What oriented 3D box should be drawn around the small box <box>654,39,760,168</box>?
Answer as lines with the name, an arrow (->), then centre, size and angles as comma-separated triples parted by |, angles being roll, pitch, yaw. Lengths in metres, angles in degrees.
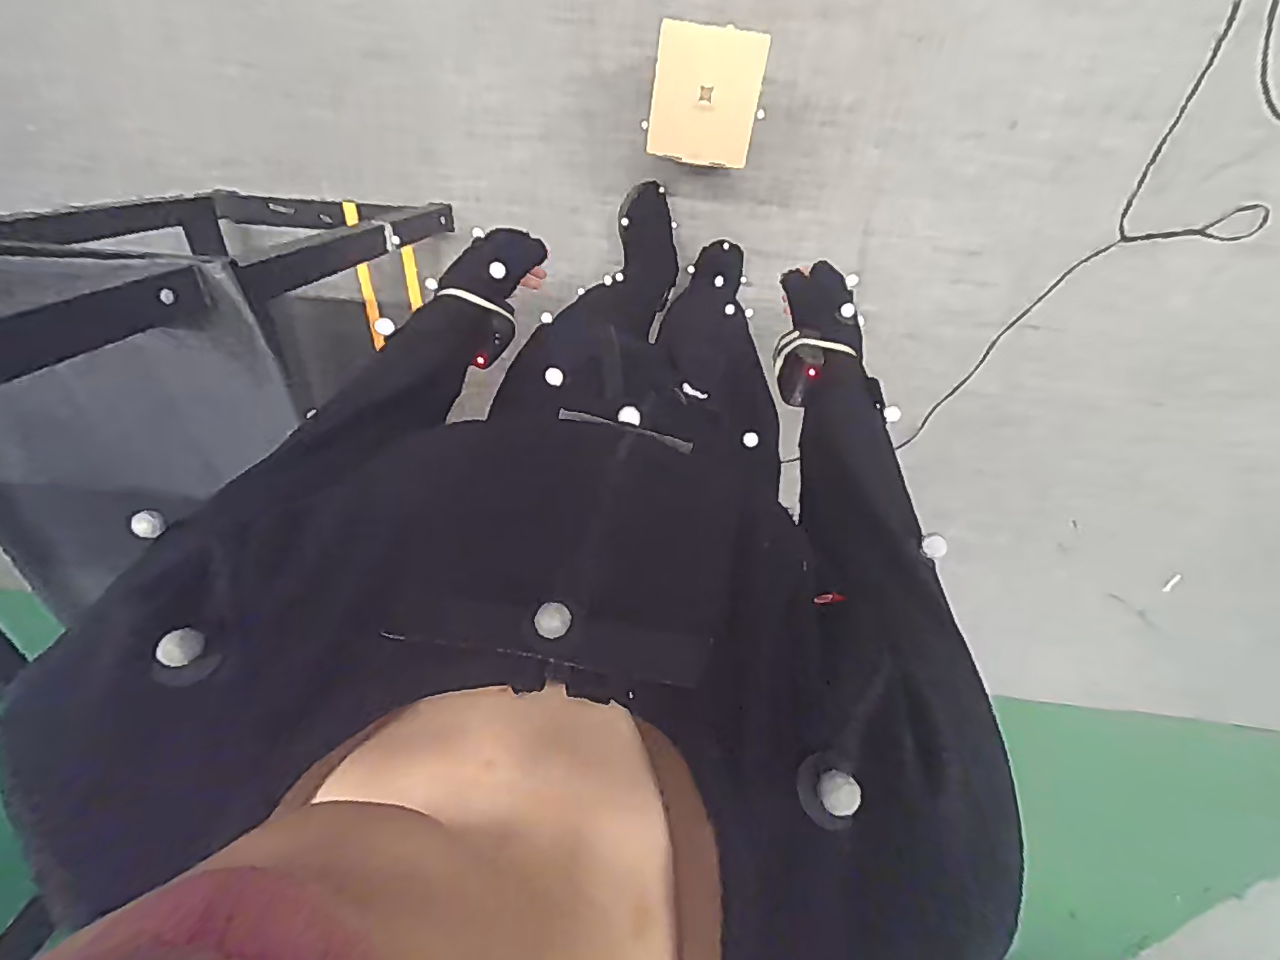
small box -> 0.125, -0.721, 1.051 | 0.168, 0.176, 0.179 | 10, 122, 1
